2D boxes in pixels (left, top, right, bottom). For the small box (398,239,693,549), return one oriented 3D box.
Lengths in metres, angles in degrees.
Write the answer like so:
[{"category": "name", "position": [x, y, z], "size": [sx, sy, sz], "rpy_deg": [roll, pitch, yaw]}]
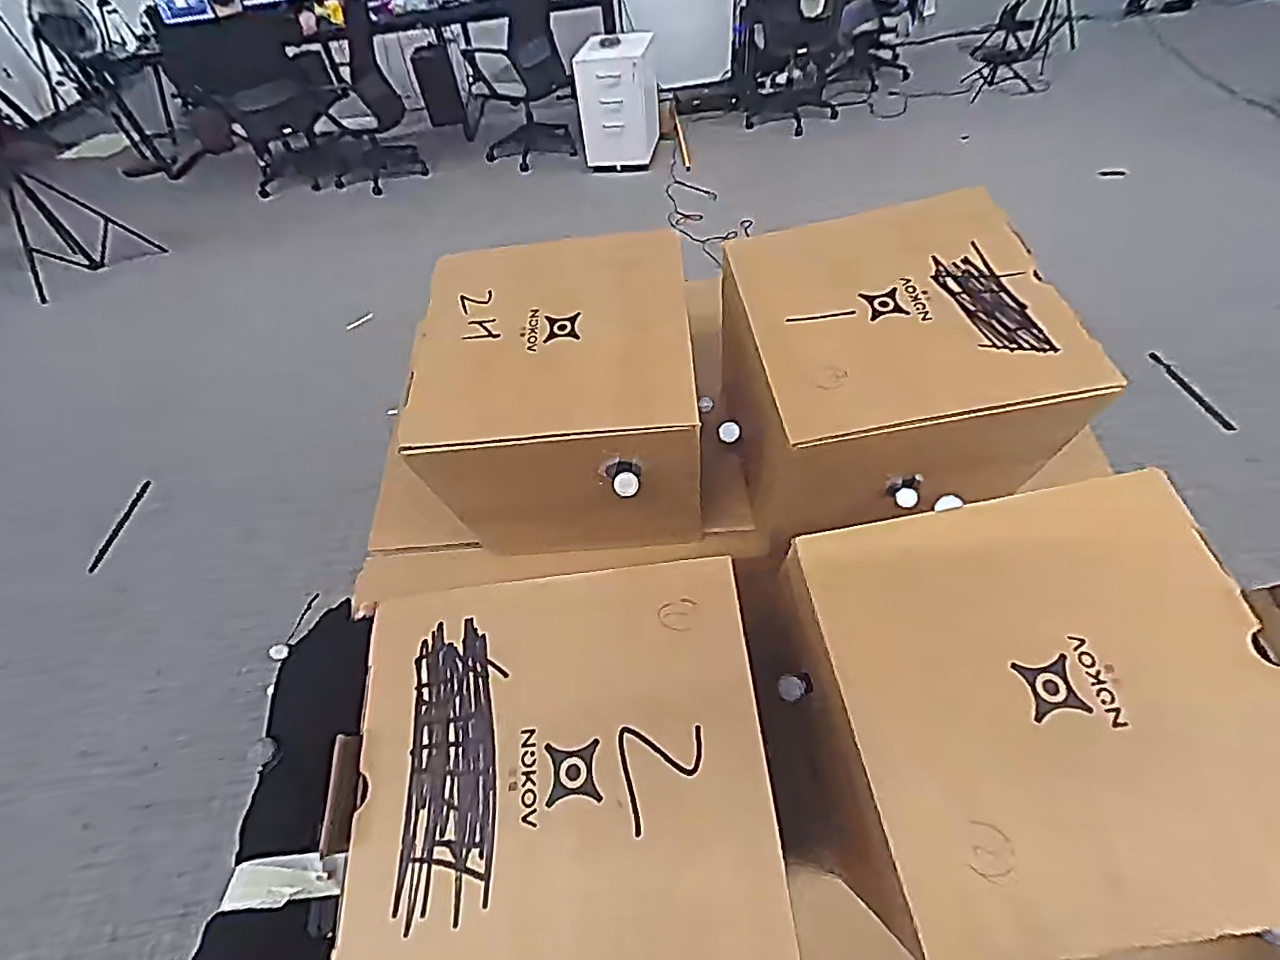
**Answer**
[{"category": "small box", "position": [-0.050, -0.055, 0.419], "size": [0.179, 0.176, 0.168], "rpy_deg": [-4, 60, 6]}]
